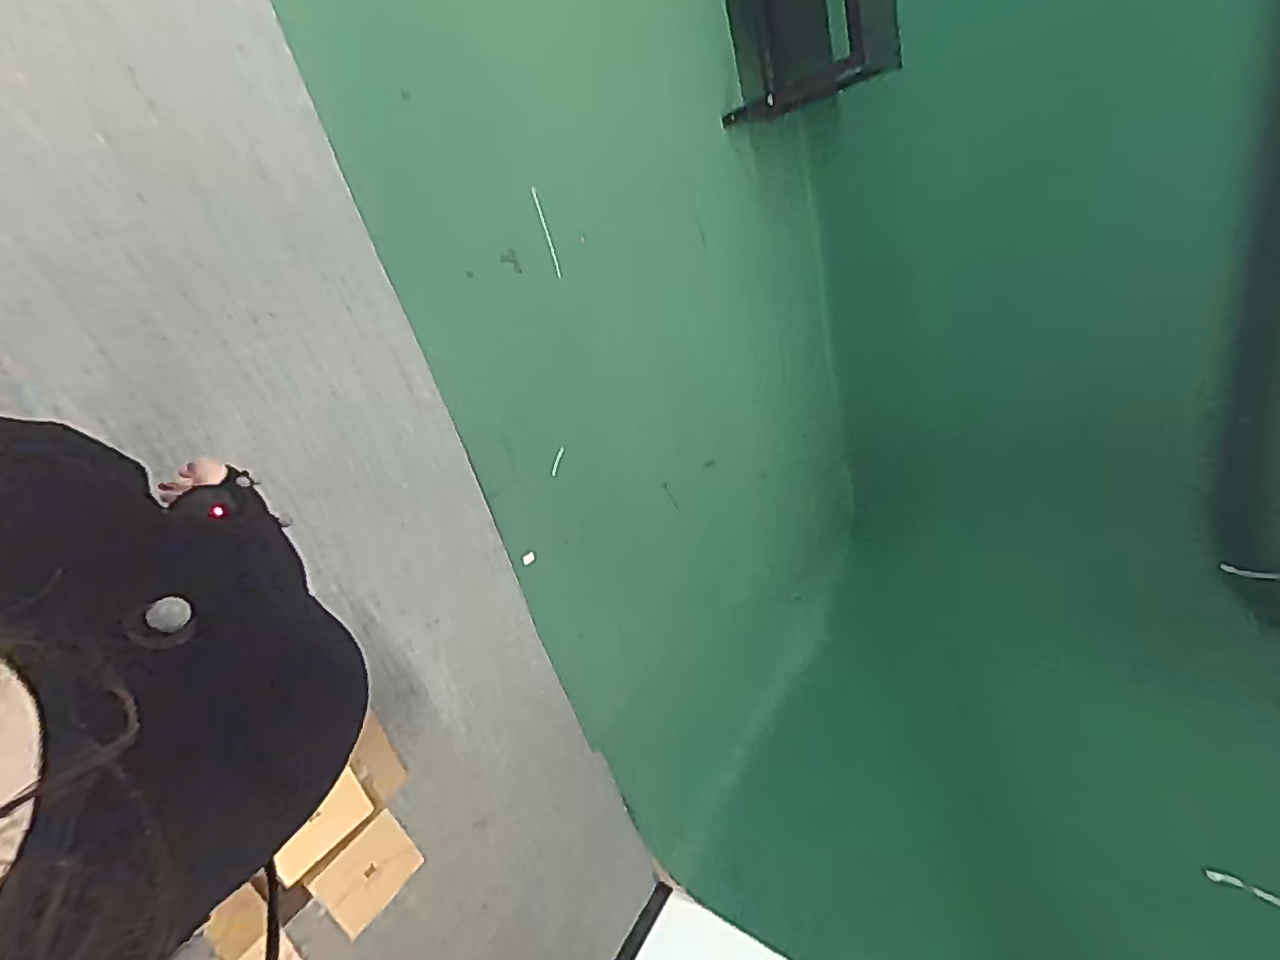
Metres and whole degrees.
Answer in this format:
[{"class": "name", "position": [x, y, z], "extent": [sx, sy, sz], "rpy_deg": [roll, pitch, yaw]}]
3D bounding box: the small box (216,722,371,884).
[{"class": "small box", "position": [-0.652, 0.595, 1.021], "extent": [0.168, 0.176, 0.179], "rpy_deg": [-36, 116, -43]}]

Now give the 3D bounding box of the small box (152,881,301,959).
[{"class": "small box", "position": [-0.719, 0.865, 0.942], "extent": [0.179, 0.176, 0.168], "rpy_deg": [-32, 115, -46]}]
